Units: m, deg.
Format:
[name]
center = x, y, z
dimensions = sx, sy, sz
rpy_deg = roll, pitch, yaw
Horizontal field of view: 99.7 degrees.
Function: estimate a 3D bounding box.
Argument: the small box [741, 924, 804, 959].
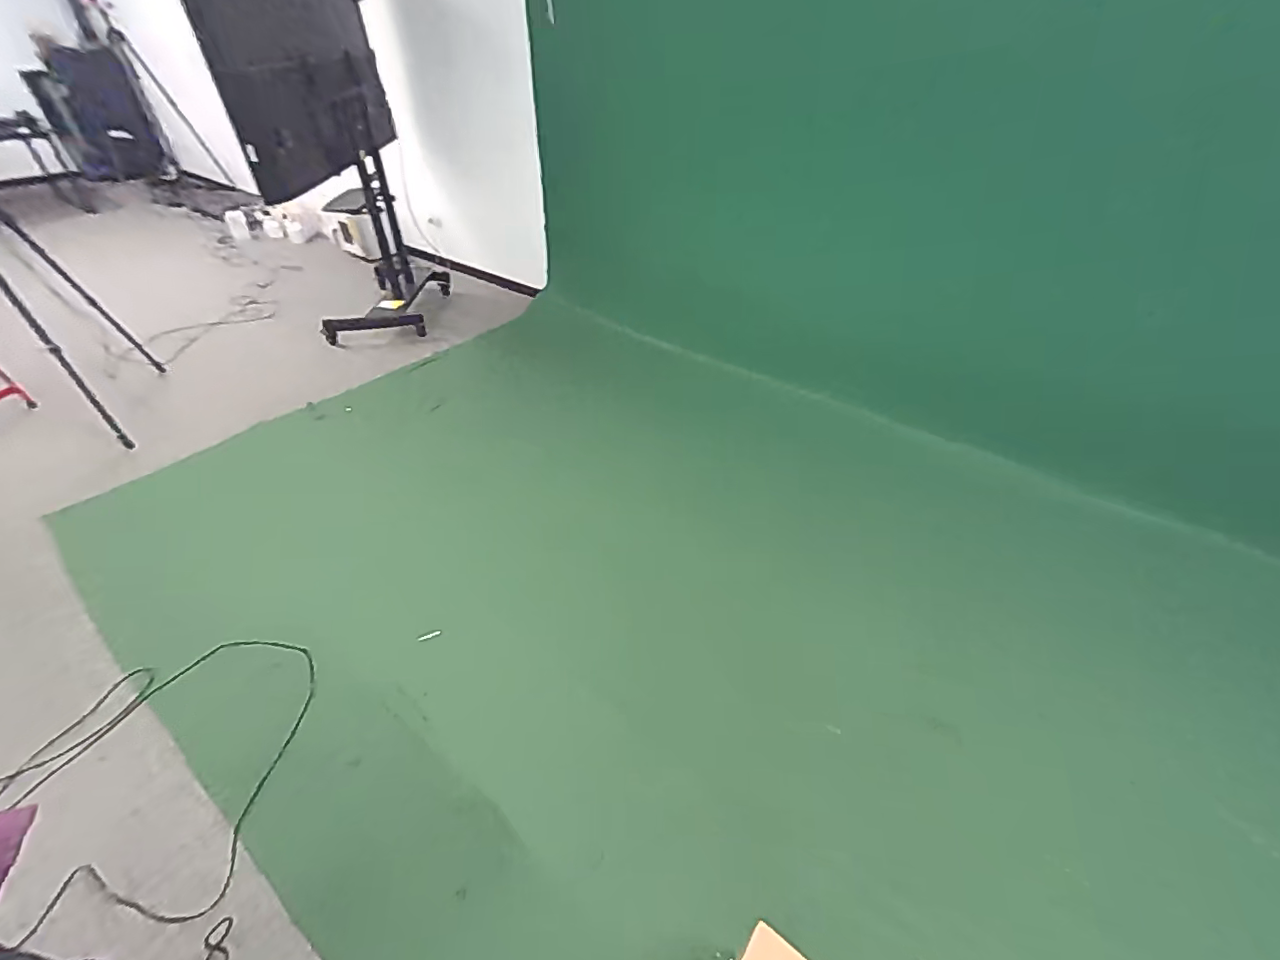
[small box]
center = 0.248, 1.002, 1.015
dimensions = 0.168, 0.176, 0.179
rpy_deg = 27, 46, 27
